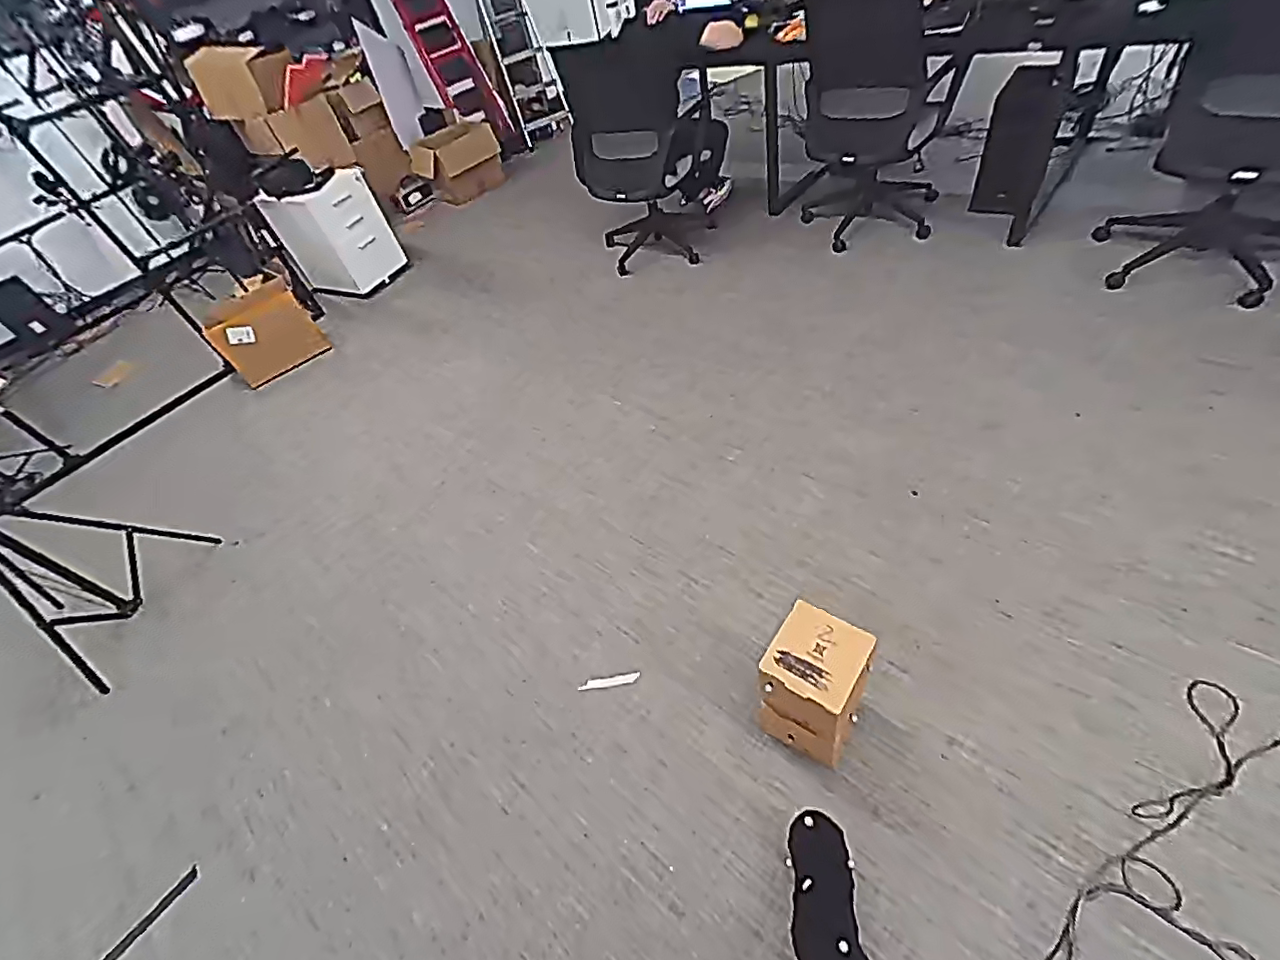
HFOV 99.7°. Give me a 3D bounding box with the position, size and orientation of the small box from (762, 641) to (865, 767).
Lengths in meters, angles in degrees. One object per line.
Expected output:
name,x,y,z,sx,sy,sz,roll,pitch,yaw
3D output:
small box,0.383,0.499,1.204,0.168,0.176,0.179,19,57,30
